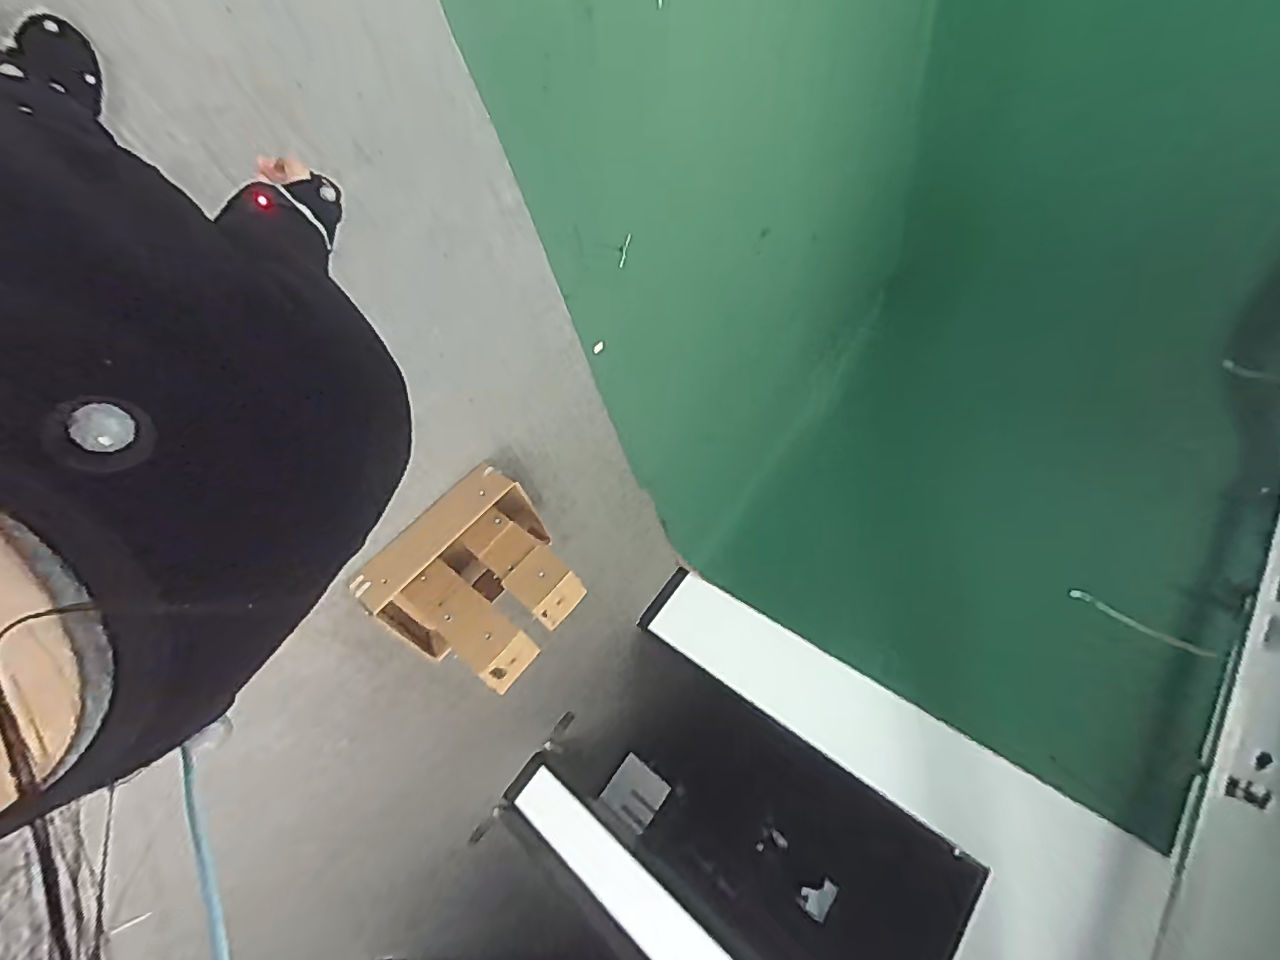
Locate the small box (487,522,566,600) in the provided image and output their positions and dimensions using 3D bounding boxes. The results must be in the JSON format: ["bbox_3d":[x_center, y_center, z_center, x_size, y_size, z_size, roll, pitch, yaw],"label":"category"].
[{"bbox_3d":[-0.395,0.277,1.879,0.179,0.176,0.168,-47,143,-19],"label":"small box"}]

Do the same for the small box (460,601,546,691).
[{"bbox_3d":[-0.434,0.516,1.693,0.179,0.176,0.168,-48,143,-23],"label":"small box"}]

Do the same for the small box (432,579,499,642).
[{"bbox_3d":[-0.552,0.453,1.790,0.168,0.176,0.179,-48,144,-22],"label":"small box"}]
